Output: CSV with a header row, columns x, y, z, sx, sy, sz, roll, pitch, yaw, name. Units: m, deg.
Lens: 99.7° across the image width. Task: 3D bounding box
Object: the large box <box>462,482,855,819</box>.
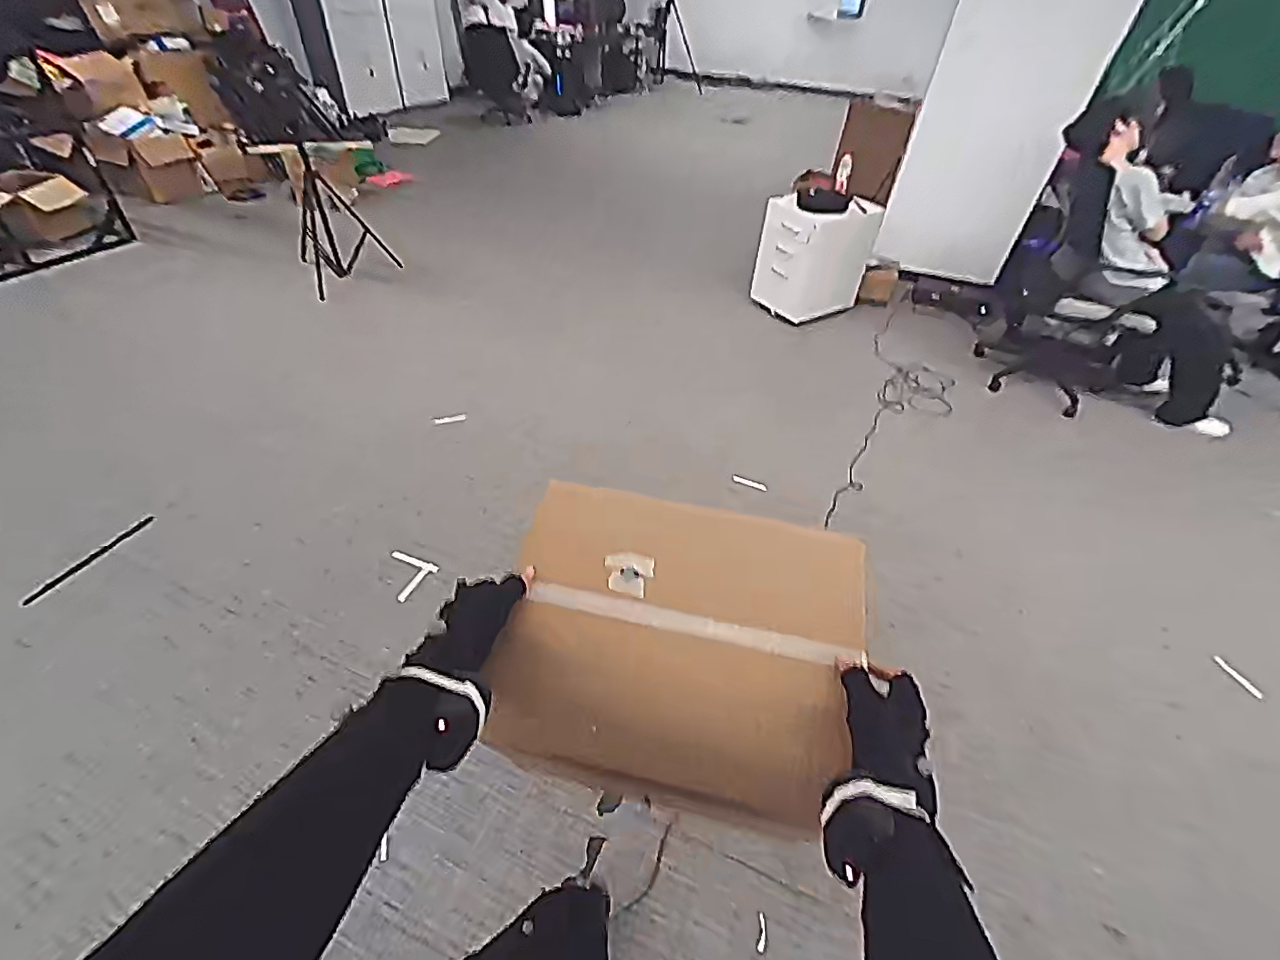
x,y,z,sx,sy,sz,roll,pitch,yaw,name
0.045,0.239,0.736,0.408,0.320,0.320,10,56,9,large box
